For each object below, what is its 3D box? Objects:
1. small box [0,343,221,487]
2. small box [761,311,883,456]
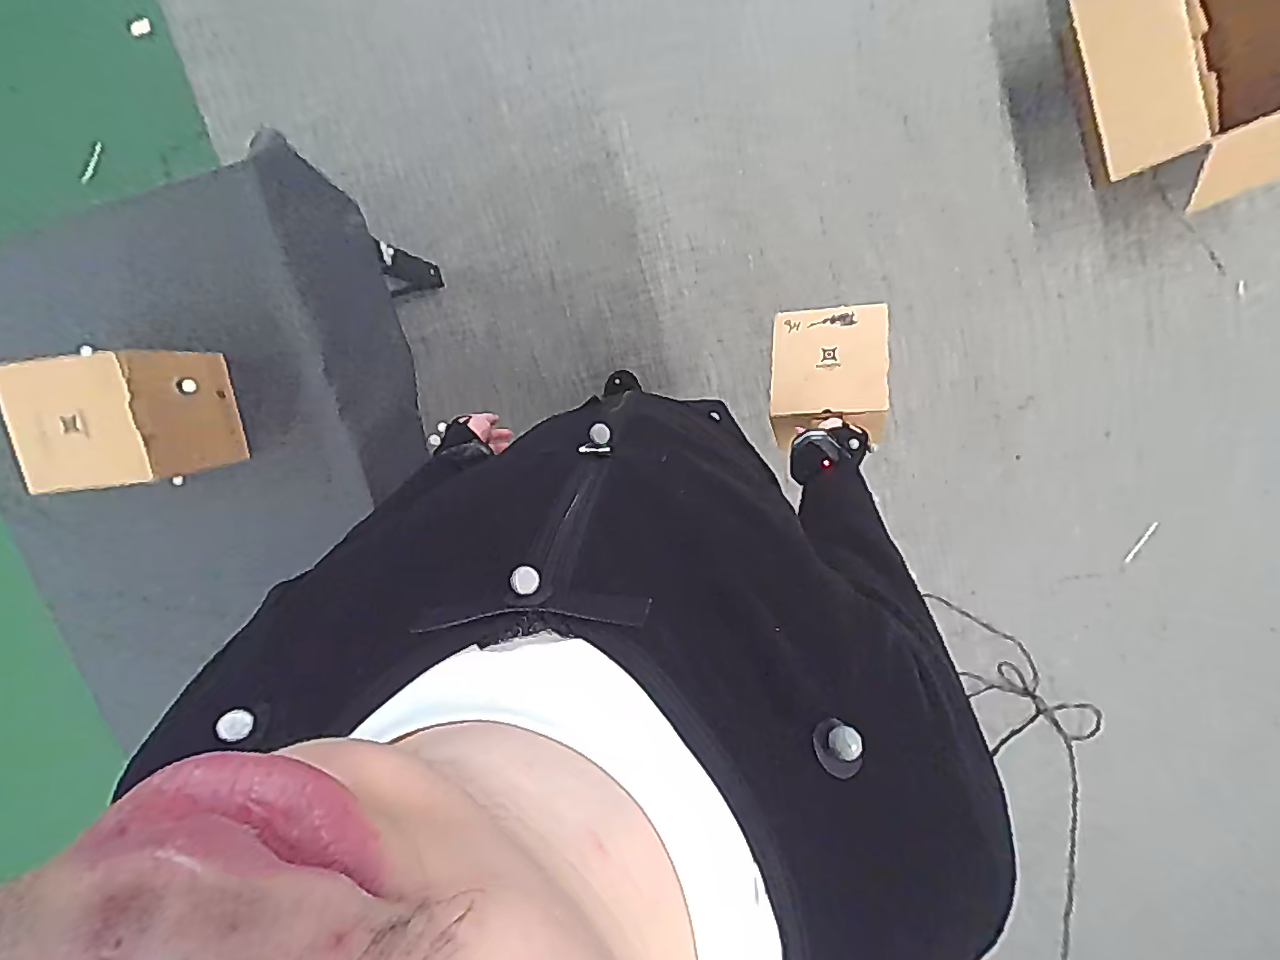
[{"bbox_3d":[-0.717,-0.092,0.736,0.179,0.176,0.168,-6,99,3],"label":"small box"},{"bbox_3d":[0.294,-0.144,0.865,0.168,0.176,0.179,2,74,21],"label":"small box"}]
